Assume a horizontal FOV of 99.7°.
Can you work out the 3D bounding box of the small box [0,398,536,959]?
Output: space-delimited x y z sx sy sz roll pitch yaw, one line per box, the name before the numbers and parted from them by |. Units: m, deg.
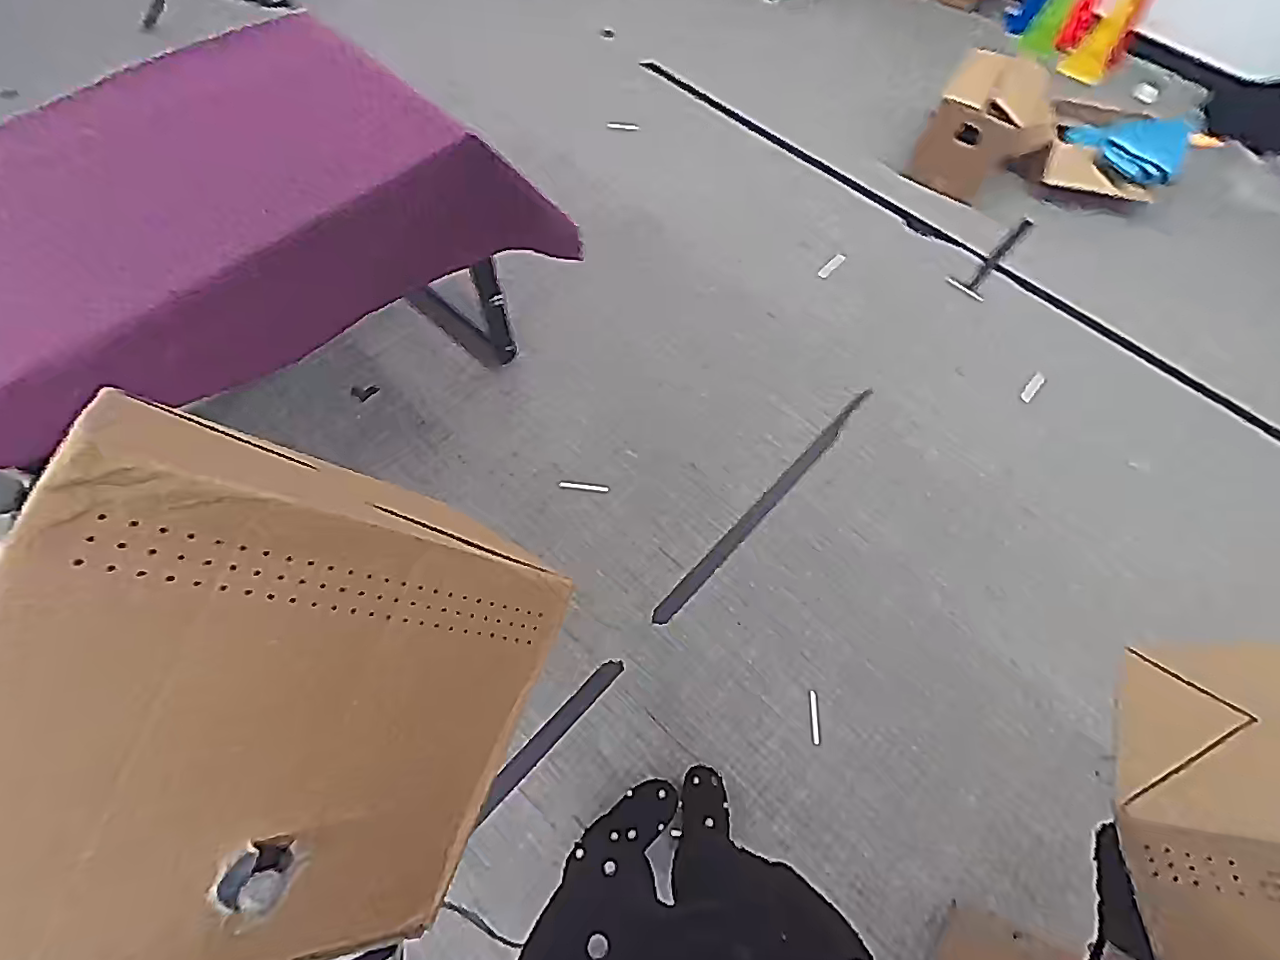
small box | -0.176 0.078 0.244 0.168 0.179 0.176 13 80 48
